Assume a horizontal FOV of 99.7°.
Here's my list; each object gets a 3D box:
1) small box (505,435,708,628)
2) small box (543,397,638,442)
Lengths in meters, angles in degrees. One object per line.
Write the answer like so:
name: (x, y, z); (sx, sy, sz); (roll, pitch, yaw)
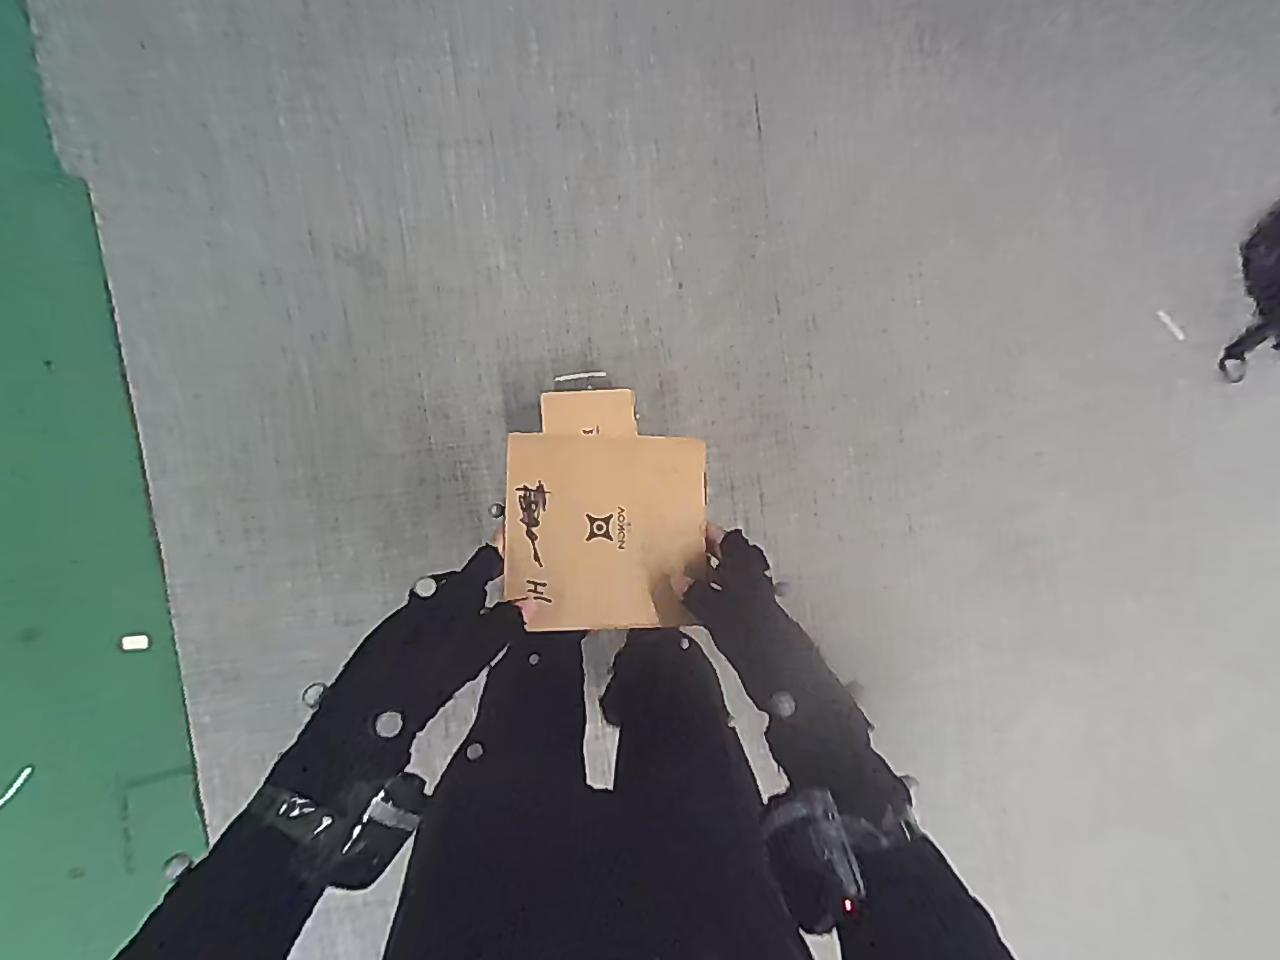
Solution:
small box: (-0.040, 0.058, 0.548); (0.179, 0.176, 0.168); (2, 79, -10)
small box: (-0.097, -0.074, 1.088); (0.179, 0.176, 0.168); (-4, 92, -5)
